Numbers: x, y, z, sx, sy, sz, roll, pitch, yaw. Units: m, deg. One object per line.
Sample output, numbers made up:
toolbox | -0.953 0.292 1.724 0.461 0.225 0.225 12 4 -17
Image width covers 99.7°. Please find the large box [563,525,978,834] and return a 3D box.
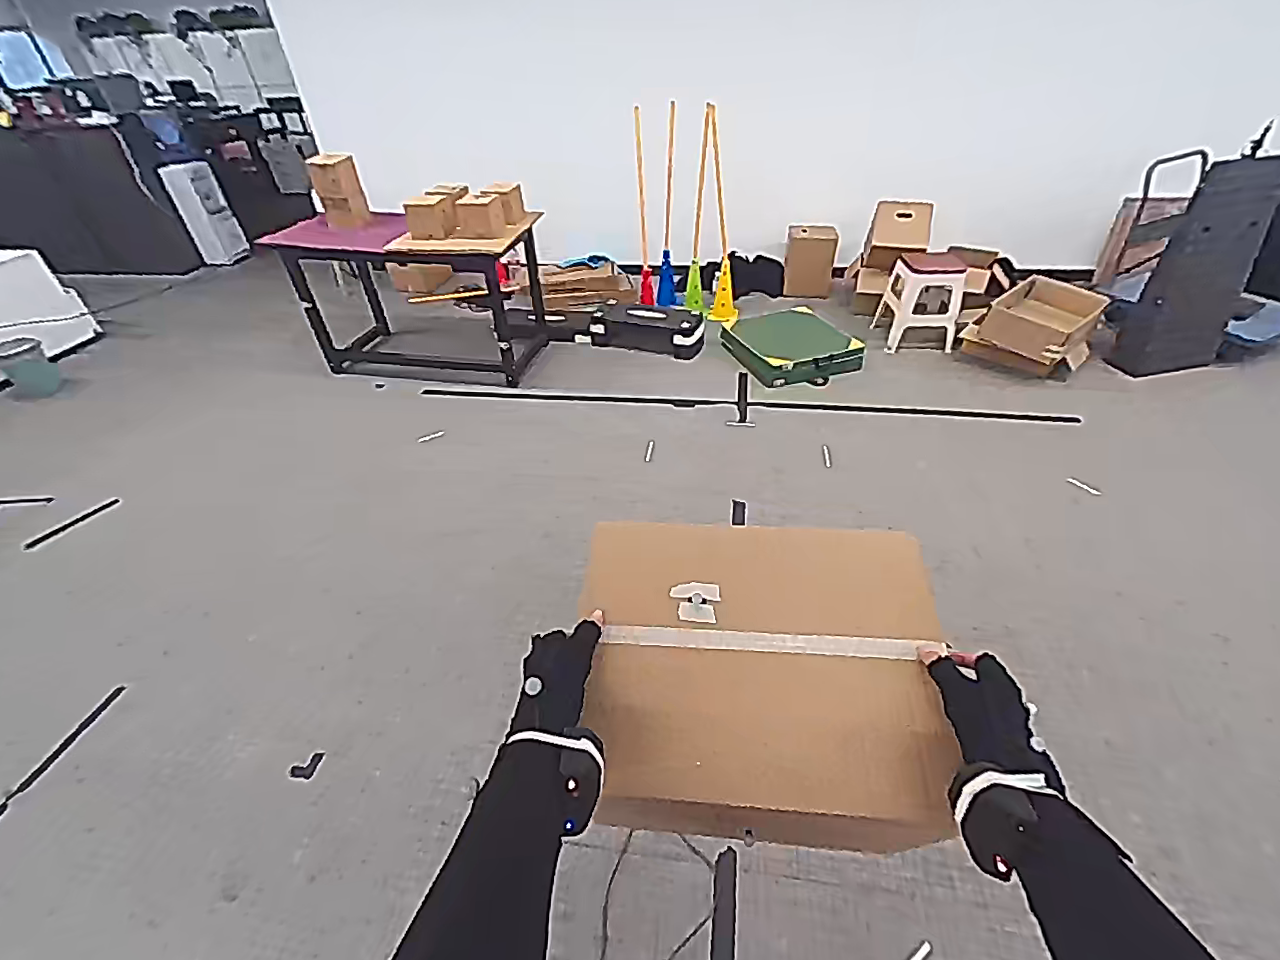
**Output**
large box | 0.144 0.272 0.729 0.408 0.320 0.320 1 52 7
